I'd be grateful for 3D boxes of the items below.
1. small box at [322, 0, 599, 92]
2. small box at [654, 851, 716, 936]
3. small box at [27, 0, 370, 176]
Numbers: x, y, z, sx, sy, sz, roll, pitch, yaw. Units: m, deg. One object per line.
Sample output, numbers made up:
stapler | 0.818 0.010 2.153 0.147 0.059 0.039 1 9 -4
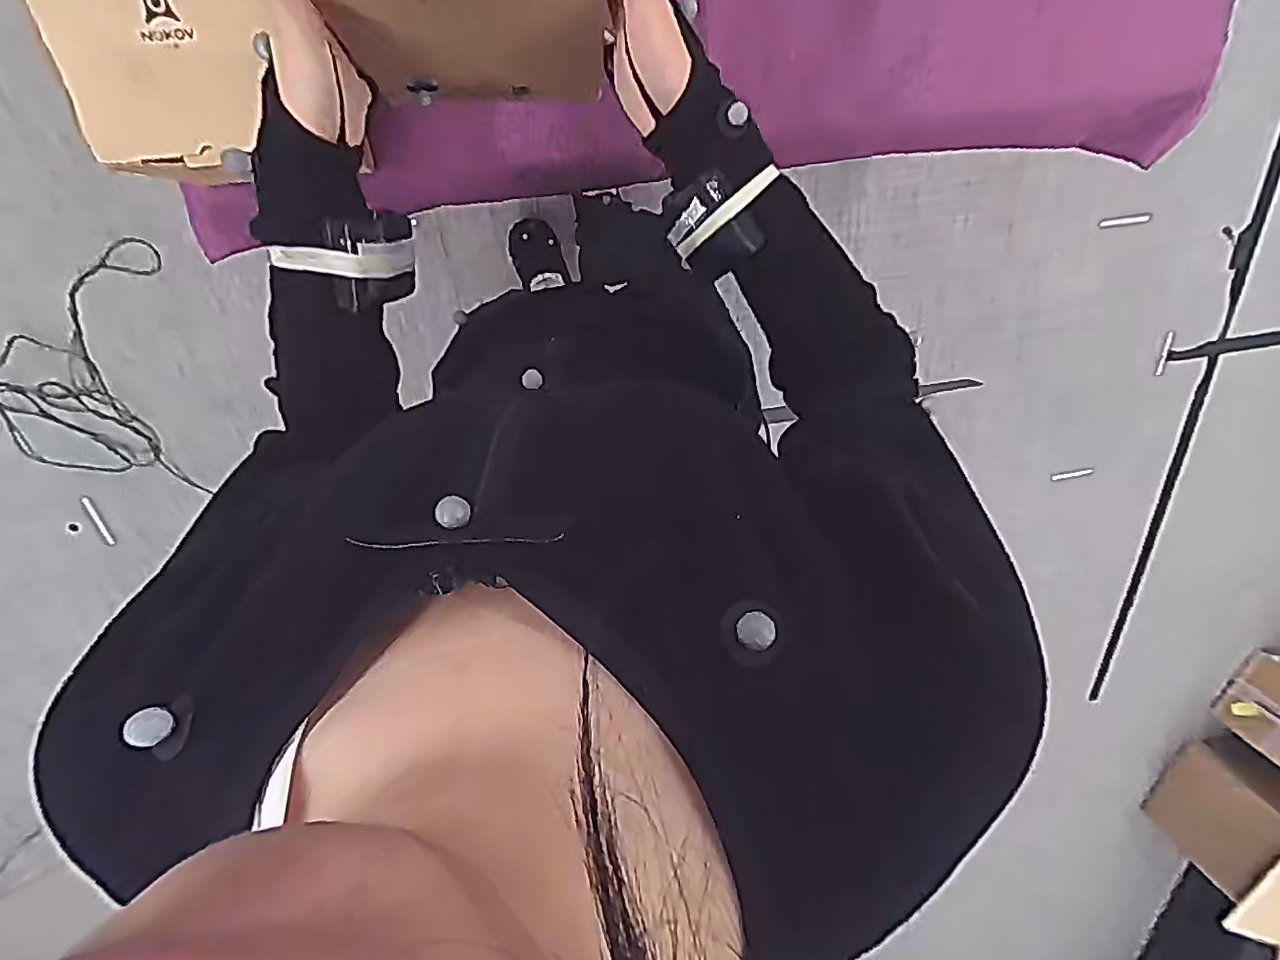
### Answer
small box | -0.112 -0.368 0.330 0.168 0.176 0.179 -5 102 -5
small box | 0.155 1.435 1.887 0.179 0.176 0.168 -10 115 -5
small box | -0.356 -0.365 0.462 0.168 0.176 0.179 -9 116 -7
